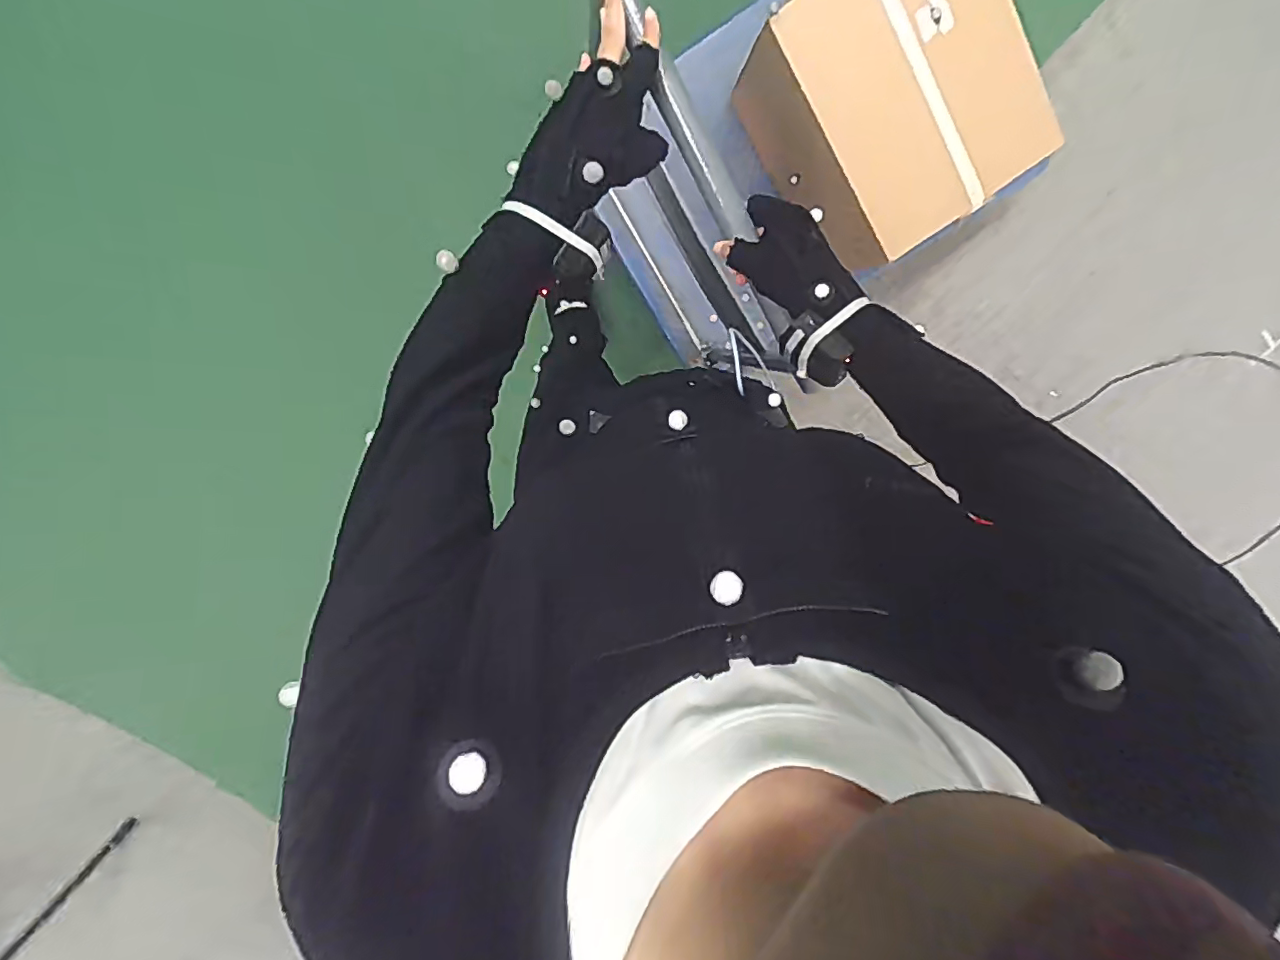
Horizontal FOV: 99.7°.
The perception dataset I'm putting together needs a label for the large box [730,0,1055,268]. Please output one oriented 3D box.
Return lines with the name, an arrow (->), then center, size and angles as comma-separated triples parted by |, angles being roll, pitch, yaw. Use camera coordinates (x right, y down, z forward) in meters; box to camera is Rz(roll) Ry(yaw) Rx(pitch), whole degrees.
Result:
large box -> 0.413, -0.652, 0.963 | 0.320, 0.320, 0.408 | -34, 104, 7
